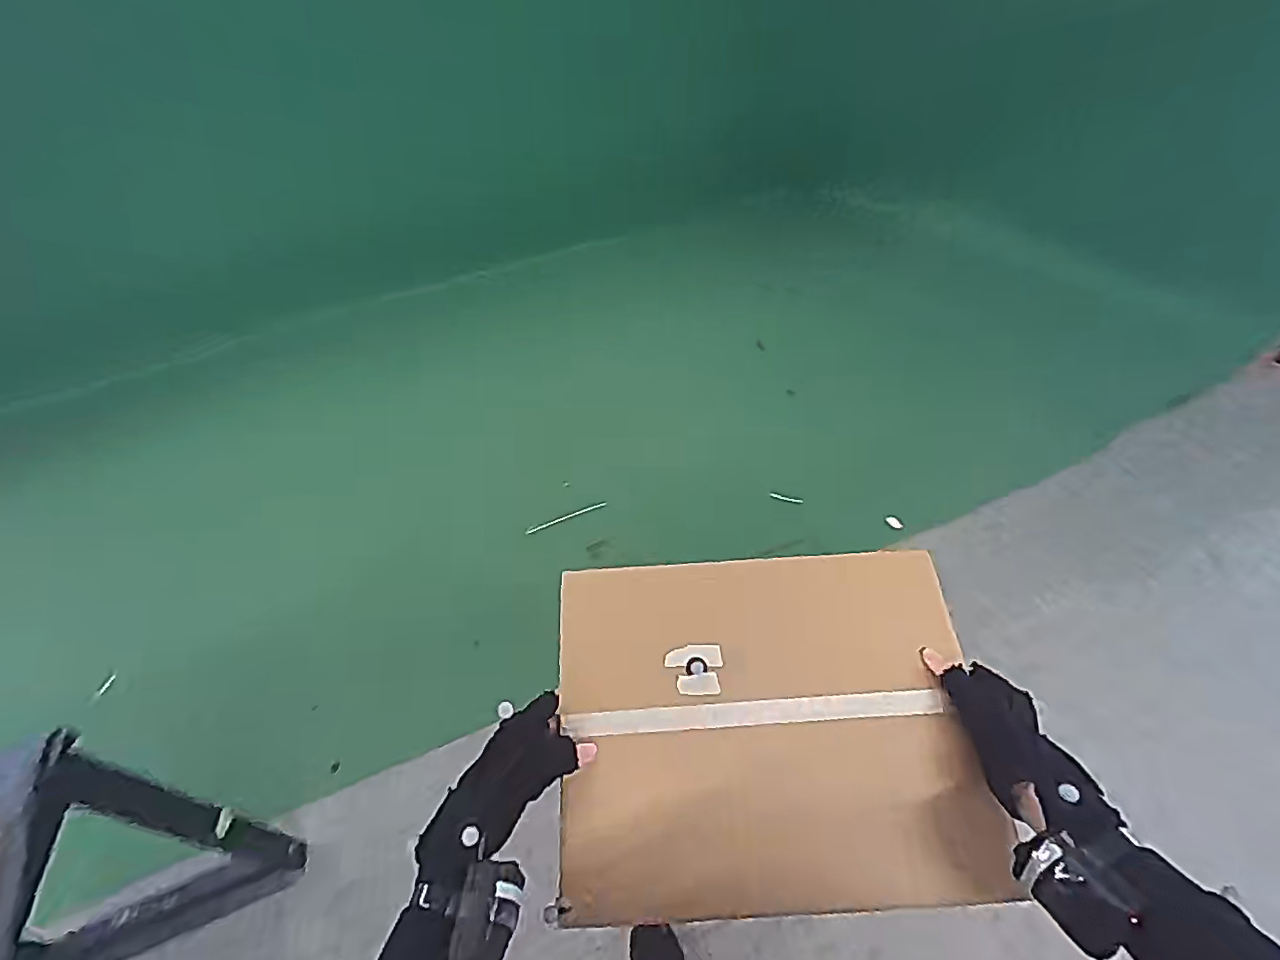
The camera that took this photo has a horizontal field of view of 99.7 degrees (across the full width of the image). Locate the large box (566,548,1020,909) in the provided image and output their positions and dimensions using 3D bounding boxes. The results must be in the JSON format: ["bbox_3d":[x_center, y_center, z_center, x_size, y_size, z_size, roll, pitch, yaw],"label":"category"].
[{"bbox_3d":[0.135,0.291,0.668,0.408,0.320,0.320,-4,62,2],"label":"large box"}]
